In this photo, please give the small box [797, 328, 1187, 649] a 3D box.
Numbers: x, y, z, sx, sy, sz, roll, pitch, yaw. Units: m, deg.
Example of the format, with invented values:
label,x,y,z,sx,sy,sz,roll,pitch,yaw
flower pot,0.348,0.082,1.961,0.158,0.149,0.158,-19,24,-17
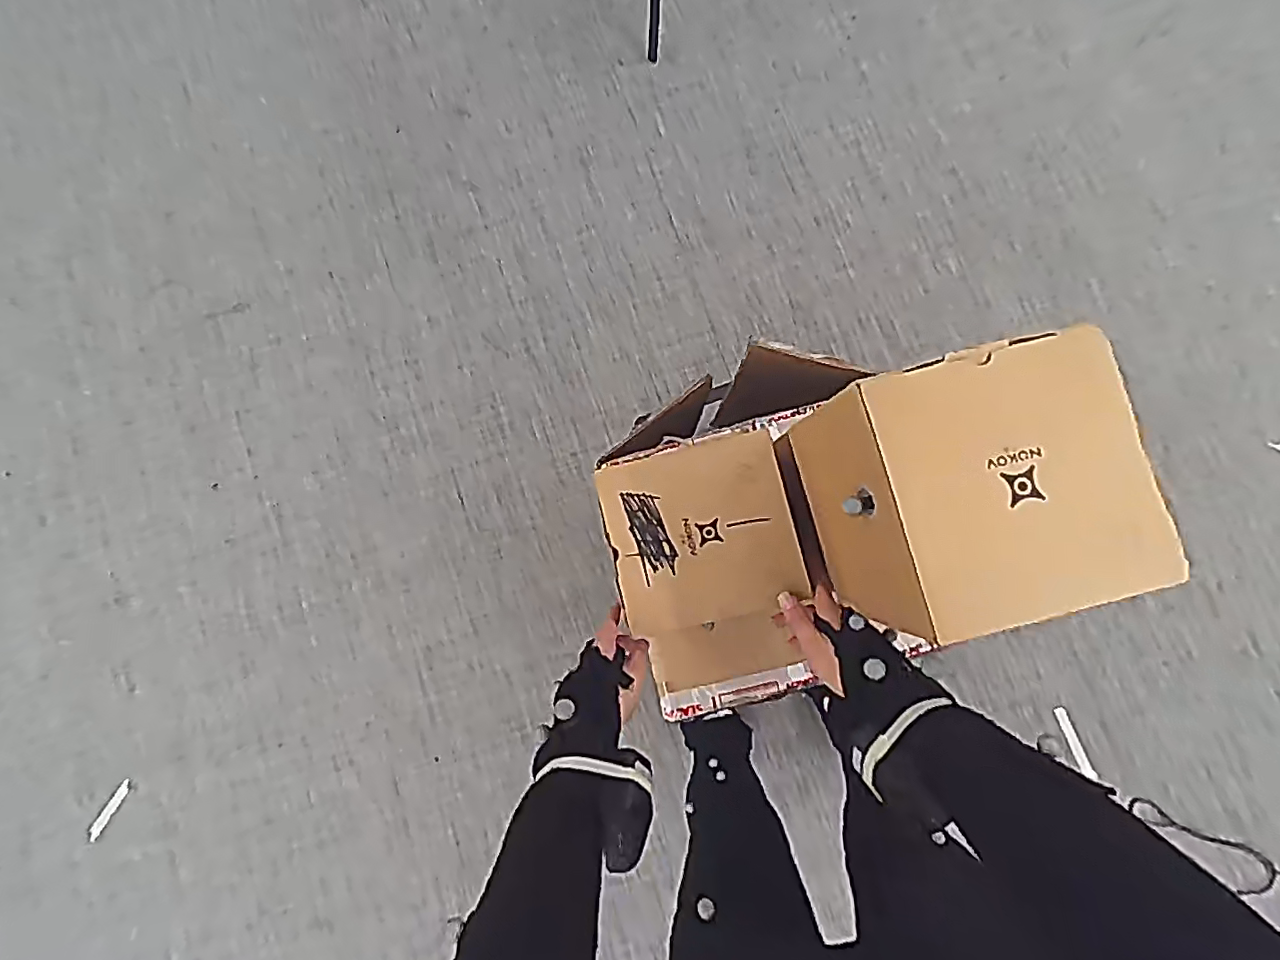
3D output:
label,x,y,z,sx,sy,sz,roll,pitch,yaw
small box,0.242,0.011,0.423,0.168,0.176,0.179,-15,83,-1
